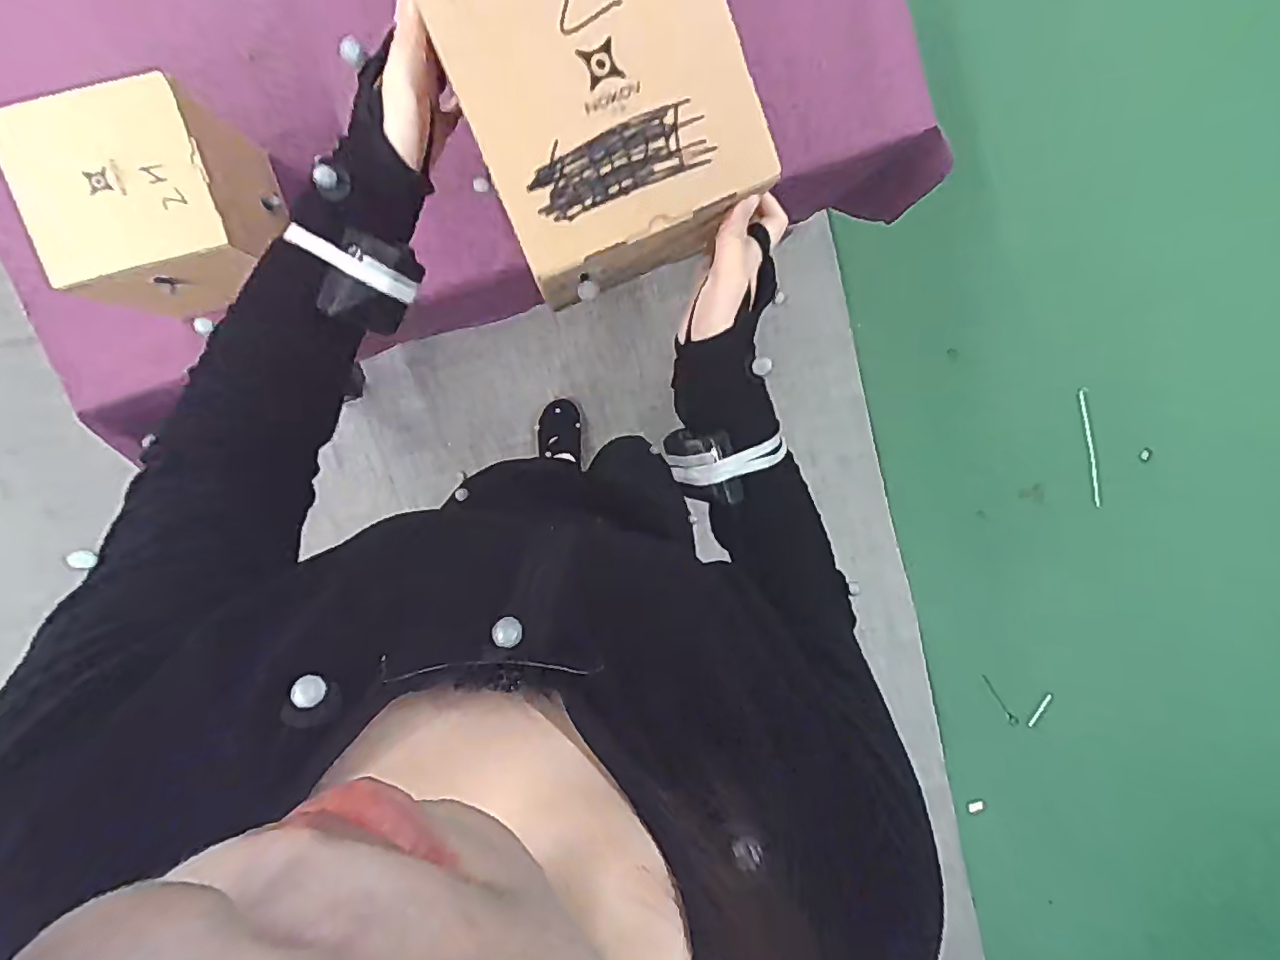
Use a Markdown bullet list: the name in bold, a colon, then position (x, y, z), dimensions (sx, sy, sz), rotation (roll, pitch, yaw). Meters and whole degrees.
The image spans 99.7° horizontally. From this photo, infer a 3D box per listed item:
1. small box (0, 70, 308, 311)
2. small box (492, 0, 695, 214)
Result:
- **small box**: position (-0.518, -0.300, 0.599), dimensions (0.179, 0.176, 0.168), rotation (-16, 98, -4)
- **small box**: position (-0.052, -0.438, 0.629), dimensions (0.179, 0.176, 0.168), rotation (-16, 98, -2)
